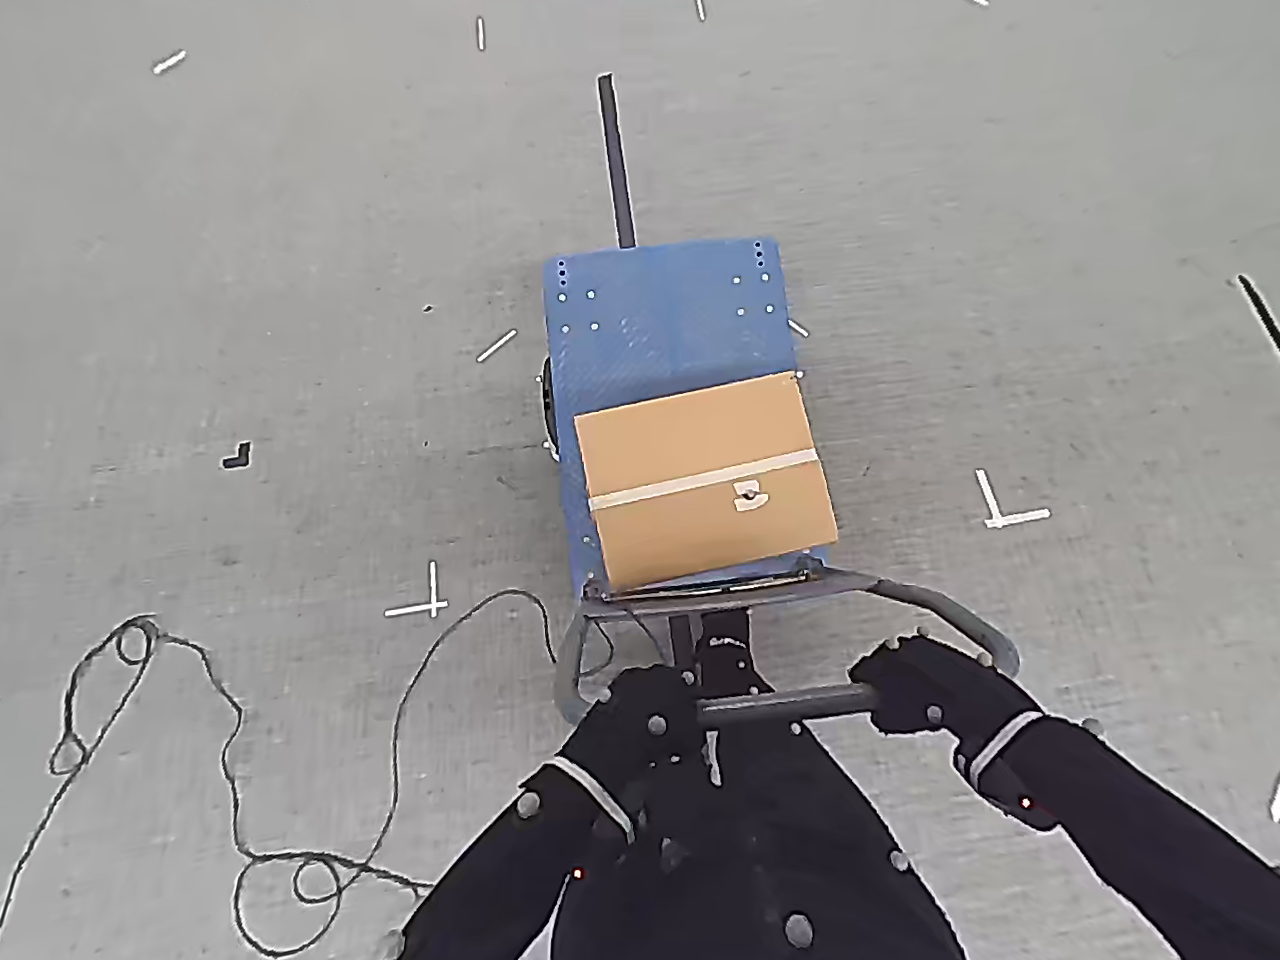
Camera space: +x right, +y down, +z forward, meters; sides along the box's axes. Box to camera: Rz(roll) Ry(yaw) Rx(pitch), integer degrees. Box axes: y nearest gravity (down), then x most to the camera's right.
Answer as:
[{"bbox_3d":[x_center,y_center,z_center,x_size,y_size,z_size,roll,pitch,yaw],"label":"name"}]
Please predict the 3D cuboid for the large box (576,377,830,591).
[{"bbox_3d":[0.106,0.022,1.108,0.408,0.320,0.320,-13,84,-4],"label":"large box"}]
